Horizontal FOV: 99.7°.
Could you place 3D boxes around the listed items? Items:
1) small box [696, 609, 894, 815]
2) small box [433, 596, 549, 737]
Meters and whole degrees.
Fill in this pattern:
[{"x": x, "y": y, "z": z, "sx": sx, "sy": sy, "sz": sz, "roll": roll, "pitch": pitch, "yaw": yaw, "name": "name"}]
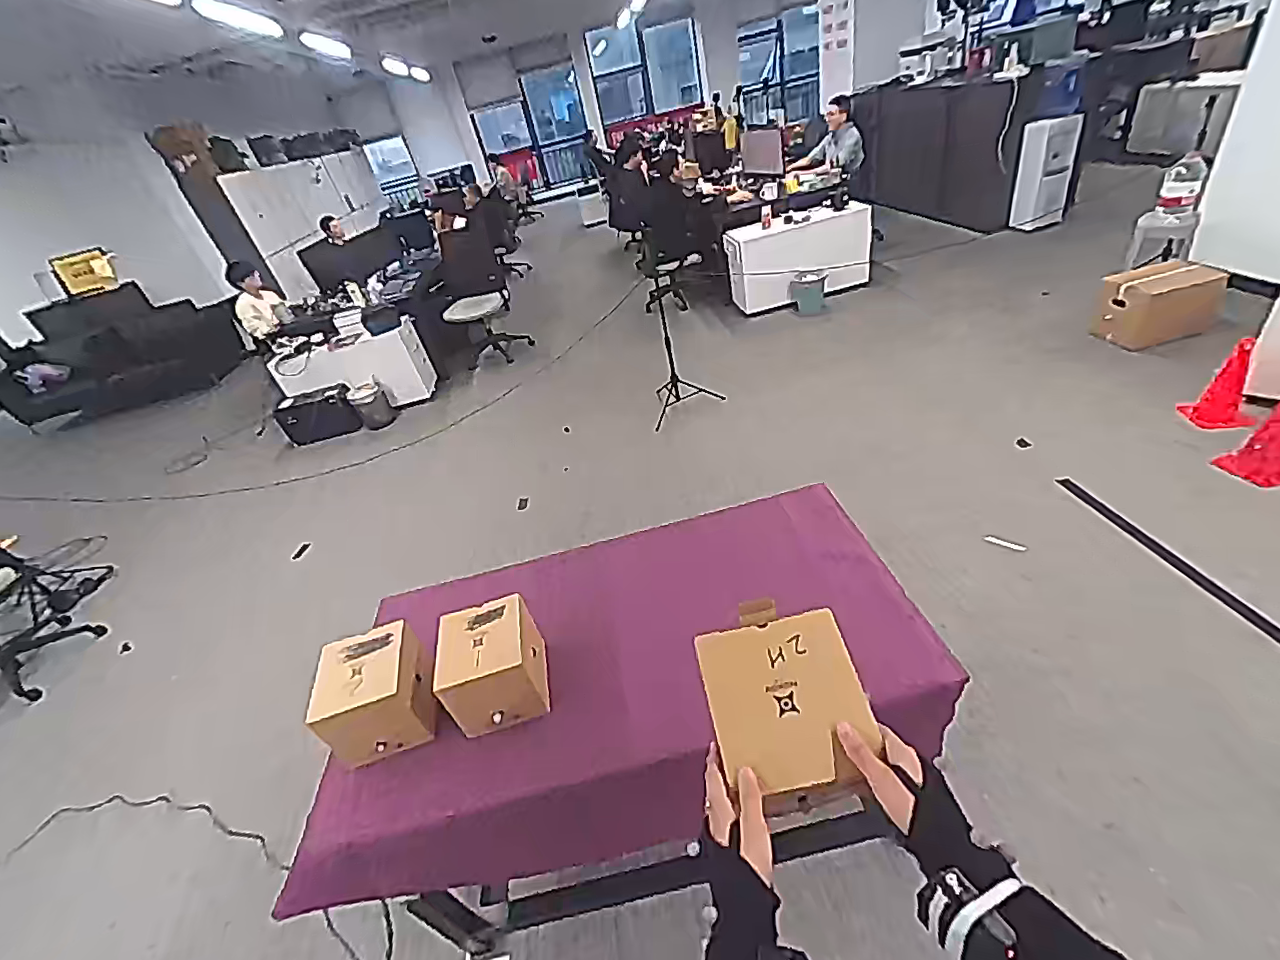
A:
[{"x": 0.170, "y": 0.280, "z": 0.636, "sx": 0.168, "sy": 0.176, "sz": 0.179, "roll": -13, "pitch": 52, "yaw": 2, "name": "small box"}, {"x": -0.286, "y": 0.366, "z": 1.066, "sx": 0.168, "sy": 0.176, "sz": 0.179, "roll": -17, "pitch": 36, "yaw": -3, "name": "small box"}]
